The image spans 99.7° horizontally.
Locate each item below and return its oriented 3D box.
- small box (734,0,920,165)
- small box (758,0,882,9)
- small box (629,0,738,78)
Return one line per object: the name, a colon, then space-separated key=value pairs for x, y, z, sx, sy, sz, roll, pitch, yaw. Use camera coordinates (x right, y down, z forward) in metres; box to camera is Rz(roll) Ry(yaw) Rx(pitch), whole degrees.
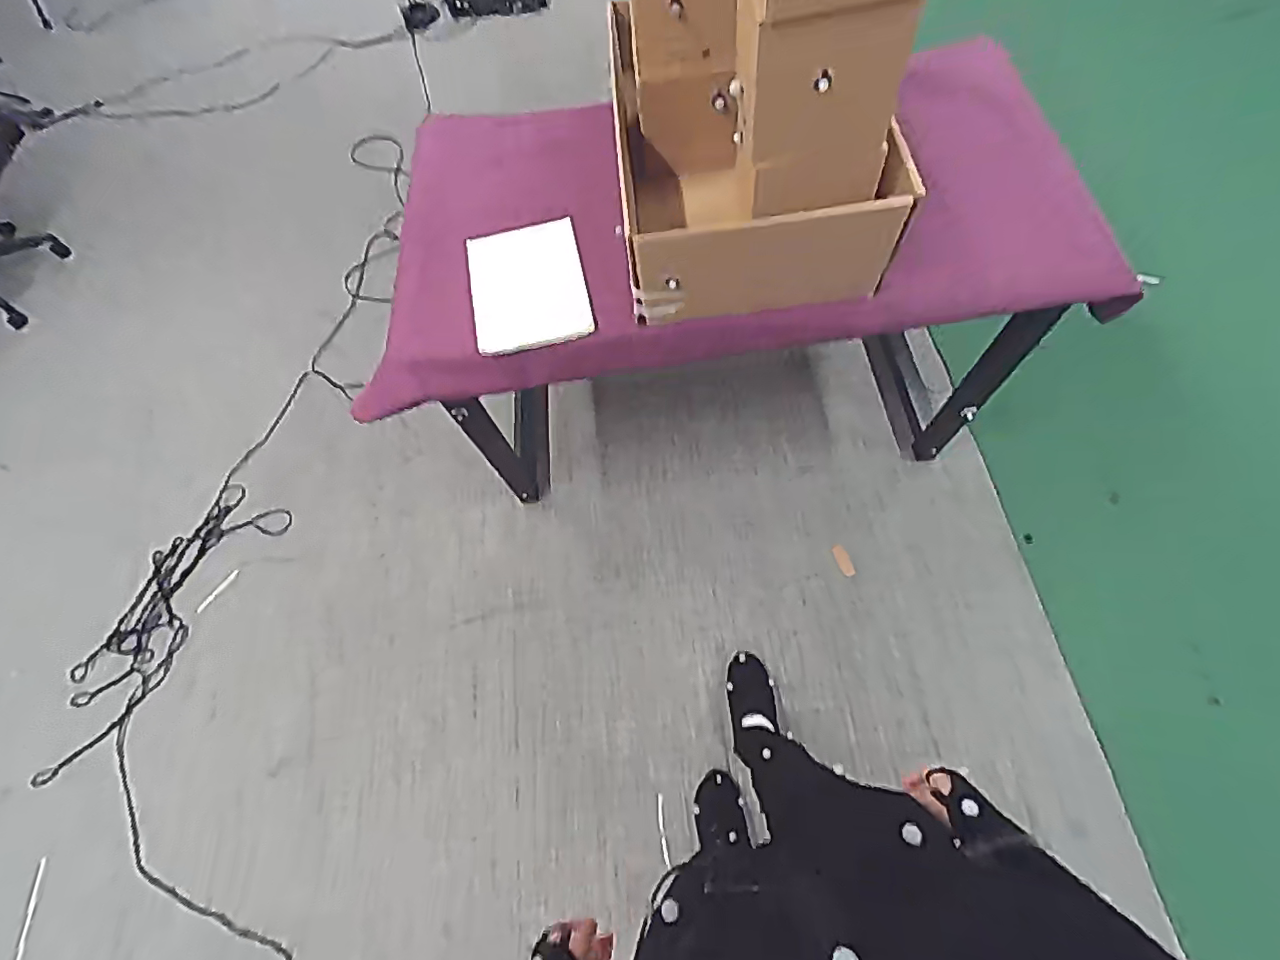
small box: x=0.215 y=-0.532 z=0.675 sx=0.179 sy=0.176 sz=0.168 roll=-6 pitch=64 yaw=7
small box: x=0.196 y=-0.599 z=0.527 sx=0.168 sy=0.176 sz=0.179 roll=-5 pitch=64 yaw=6
small box: x=0.067 y=-0.721 z=0.785 sx=0.168 sy=0.176 sz=0.179 roll=-5 pitch=67 yaw=5
